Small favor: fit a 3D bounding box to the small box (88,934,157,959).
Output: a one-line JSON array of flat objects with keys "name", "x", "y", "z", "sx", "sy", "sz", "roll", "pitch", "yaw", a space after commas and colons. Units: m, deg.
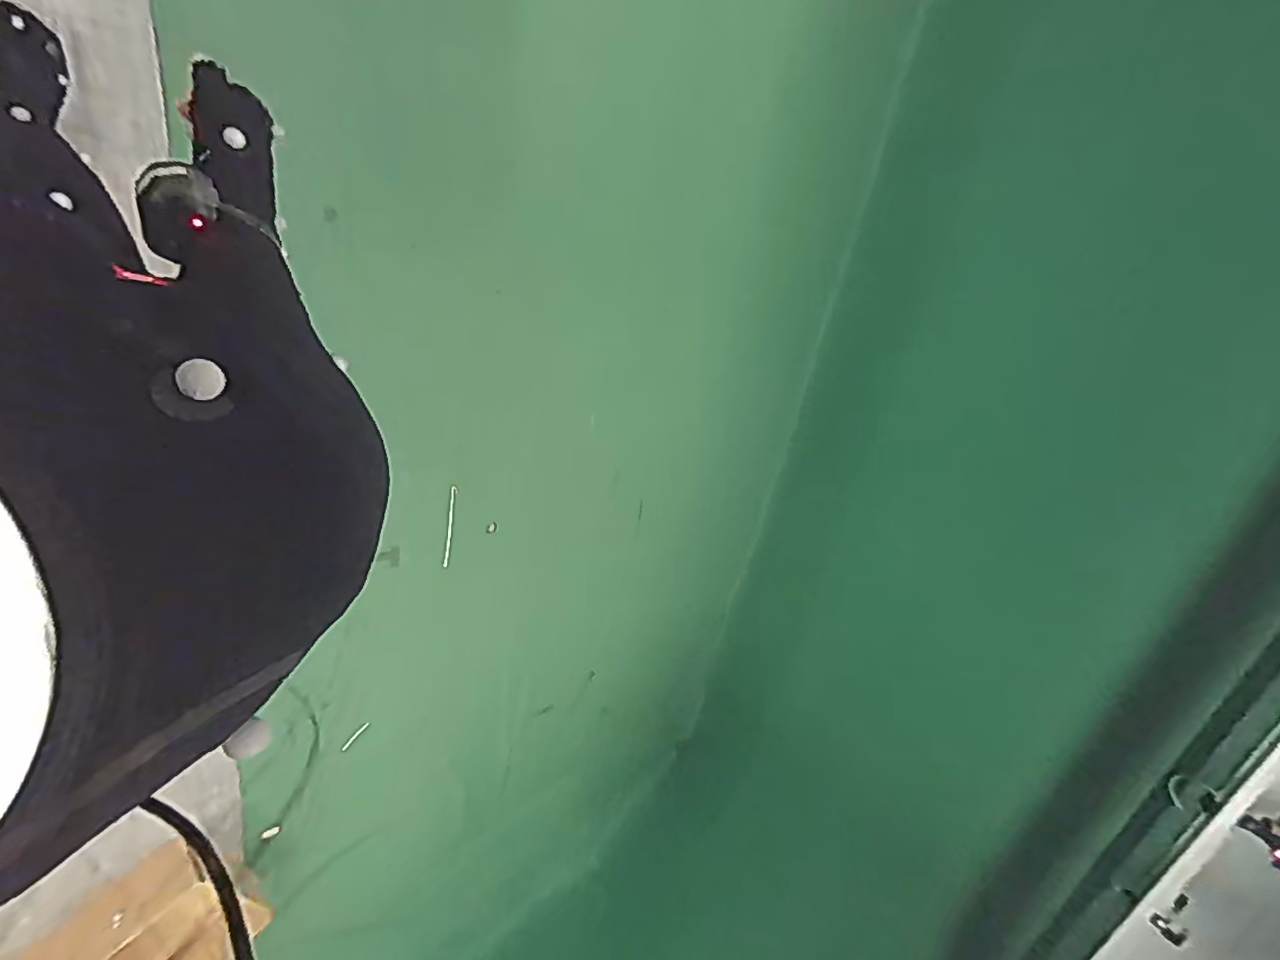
[{"name": "small box", "x": -1.438, "y": 1.394, "z": 1.466, "sx": 0.168, "sy": 0.176, "sz": 0.179, "roll": -32, "pitch": 137, "yaw": -38}]
